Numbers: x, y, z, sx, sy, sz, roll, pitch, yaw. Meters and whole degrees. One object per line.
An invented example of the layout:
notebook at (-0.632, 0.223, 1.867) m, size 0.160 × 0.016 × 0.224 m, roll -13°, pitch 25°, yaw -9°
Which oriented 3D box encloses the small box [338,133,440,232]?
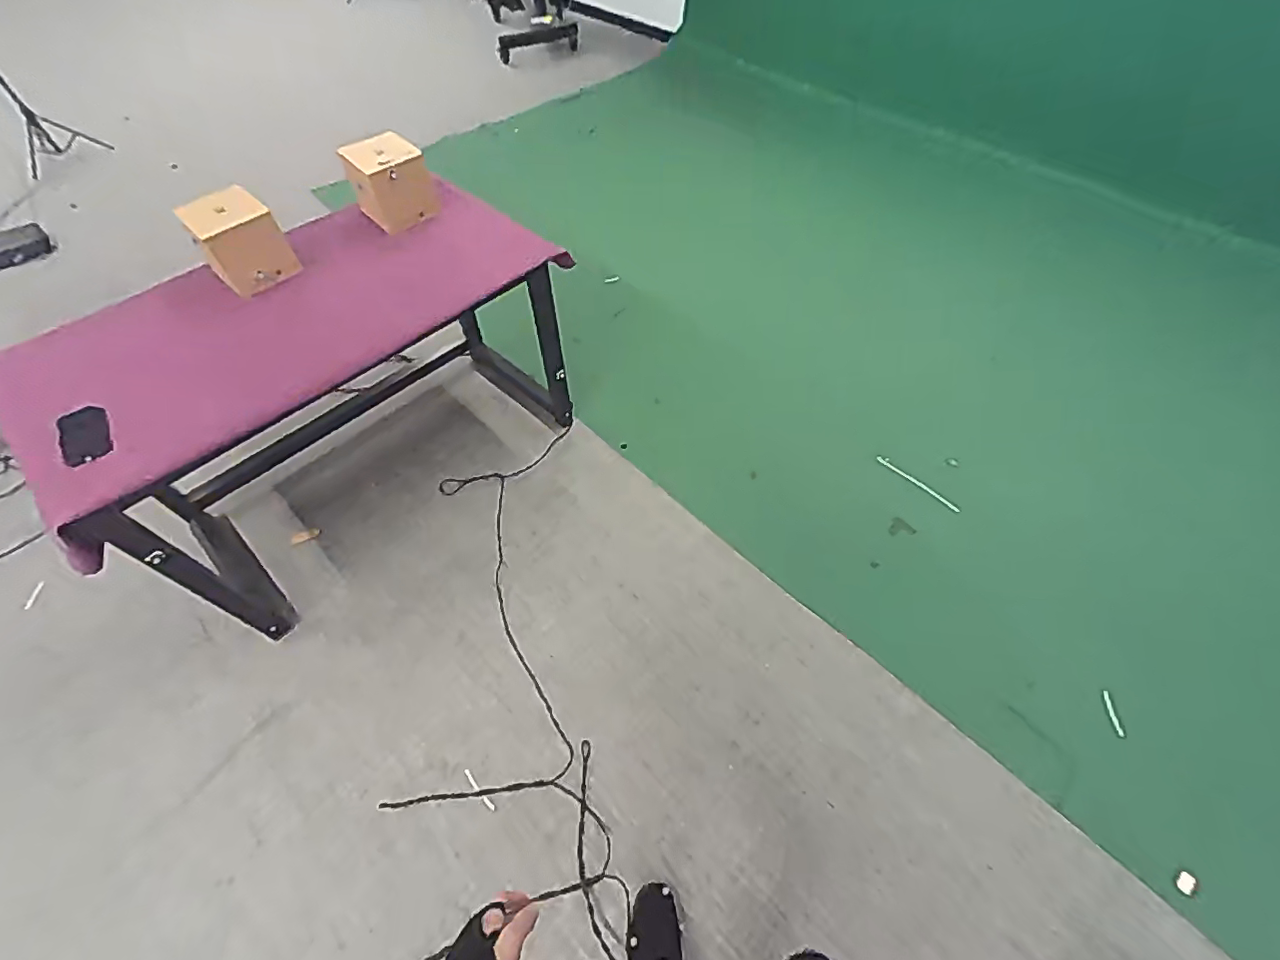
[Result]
small box at (-0.691, -0.824, 1.502) m, size 0.168 × 0.176 × 0.179 m, roll -38°, pitch 63°, yaw -22°

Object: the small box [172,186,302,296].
small box at (-0.993, -0.592, 1.347) m, size 0.179 × 0.176 × 0.168 m, roll 38°, pitch 65°, yaw 23°
